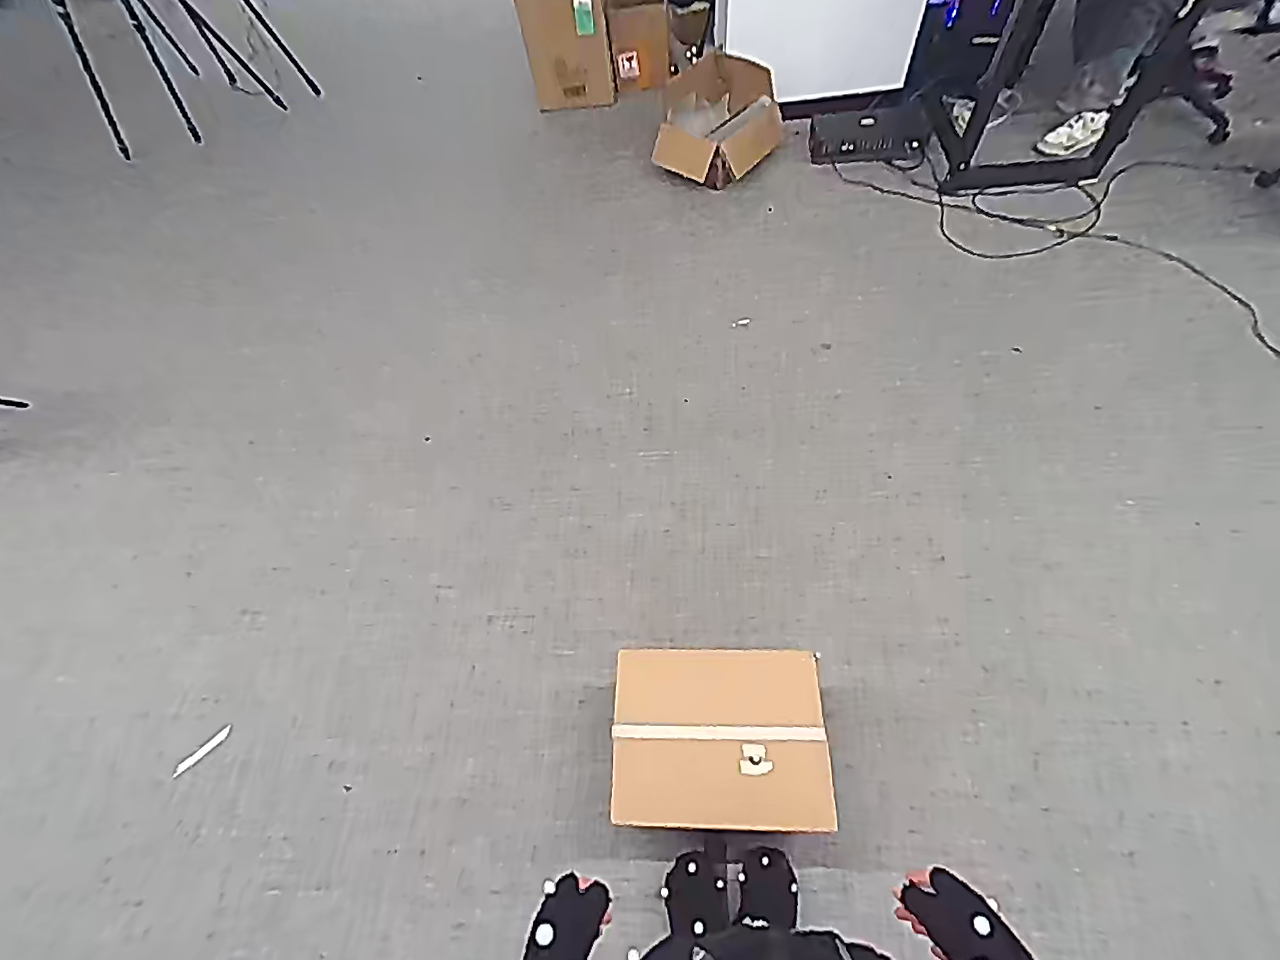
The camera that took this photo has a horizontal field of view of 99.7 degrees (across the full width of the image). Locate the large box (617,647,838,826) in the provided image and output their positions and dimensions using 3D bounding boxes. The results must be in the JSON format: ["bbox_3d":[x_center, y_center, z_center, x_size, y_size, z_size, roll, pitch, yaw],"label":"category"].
[{"bbox_3d":[0.165,0.556,1.168,0.408,0.320,0.320,-2,61,4],"label":"large box"}]
